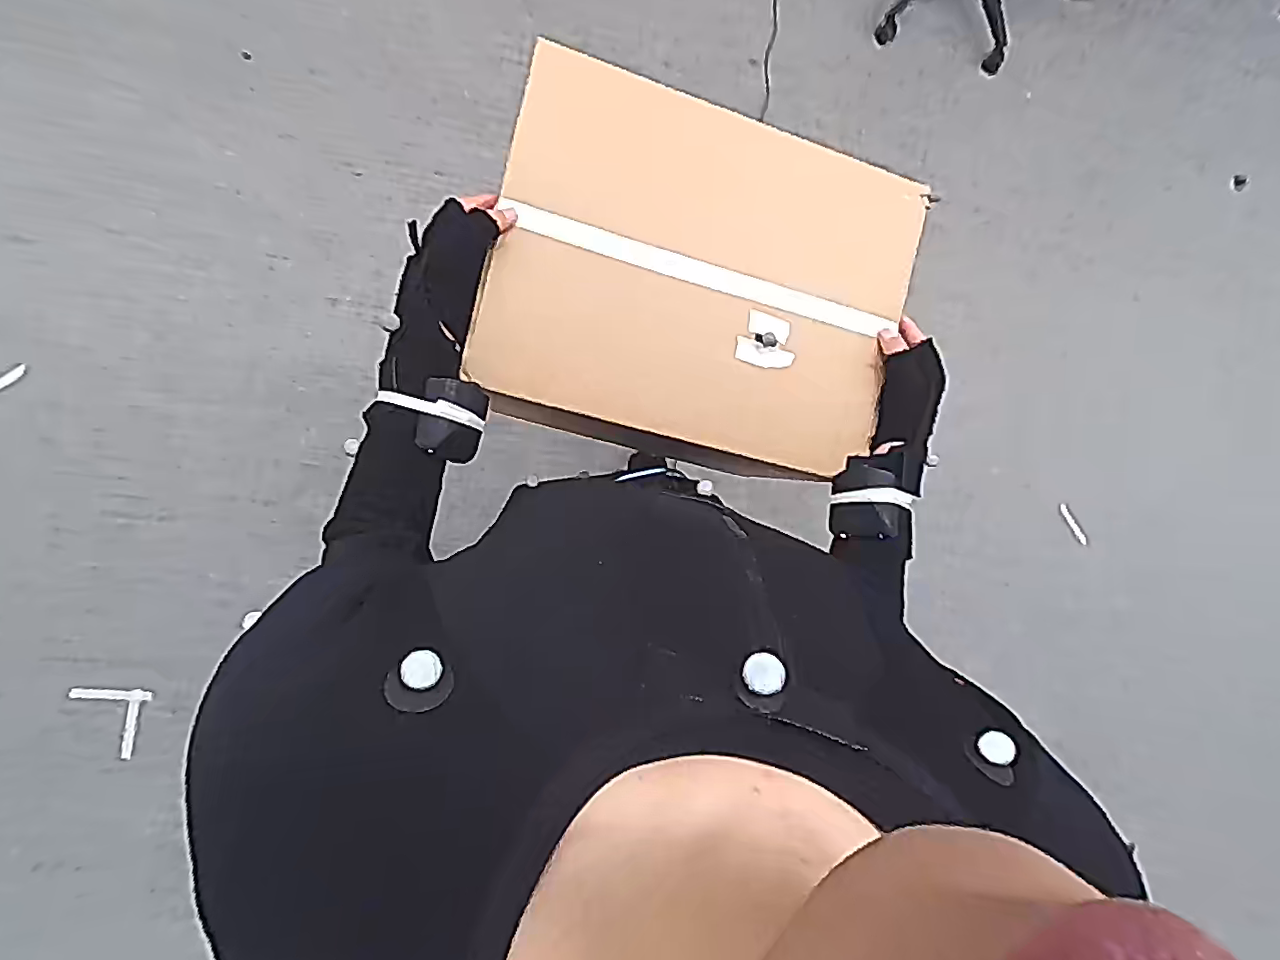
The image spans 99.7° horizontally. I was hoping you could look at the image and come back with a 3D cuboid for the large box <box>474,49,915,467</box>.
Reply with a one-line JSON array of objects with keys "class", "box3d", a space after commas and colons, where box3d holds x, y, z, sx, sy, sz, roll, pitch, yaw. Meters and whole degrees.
[{"class": "large box", "box3d": [0.038, -0.209, 0.671, 0.408, 0.320, 0.320, 13, 91, -12]}]
